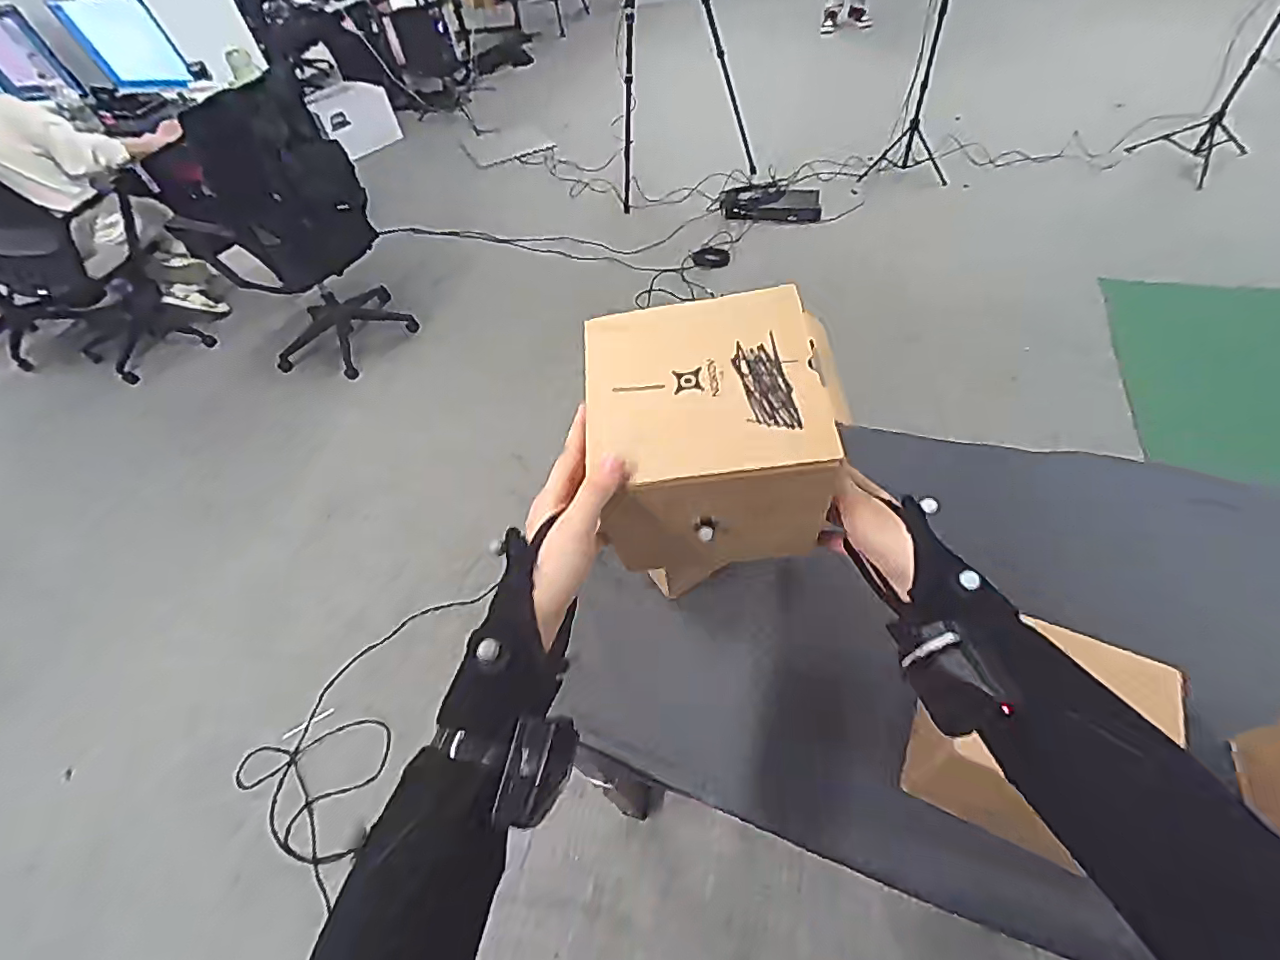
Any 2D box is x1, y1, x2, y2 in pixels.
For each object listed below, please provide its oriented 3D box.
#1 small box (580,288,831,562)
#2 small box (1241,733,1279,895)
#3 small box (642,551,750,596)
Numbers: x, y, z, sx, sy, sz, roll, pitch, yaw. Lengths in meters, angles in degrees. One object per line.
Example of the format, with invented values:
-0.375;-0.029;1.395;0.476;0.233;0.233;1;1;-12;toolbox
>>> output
0.052;-0.038;0.478;0.179;0.176;0.168;-7;60;7;small box
0.689;0.316;0.460;0.168;0.176;0.179;10;53;18;small box
0.057;0.035;0.788;0.168;0.176;0.179;-30;54;-15;small box
